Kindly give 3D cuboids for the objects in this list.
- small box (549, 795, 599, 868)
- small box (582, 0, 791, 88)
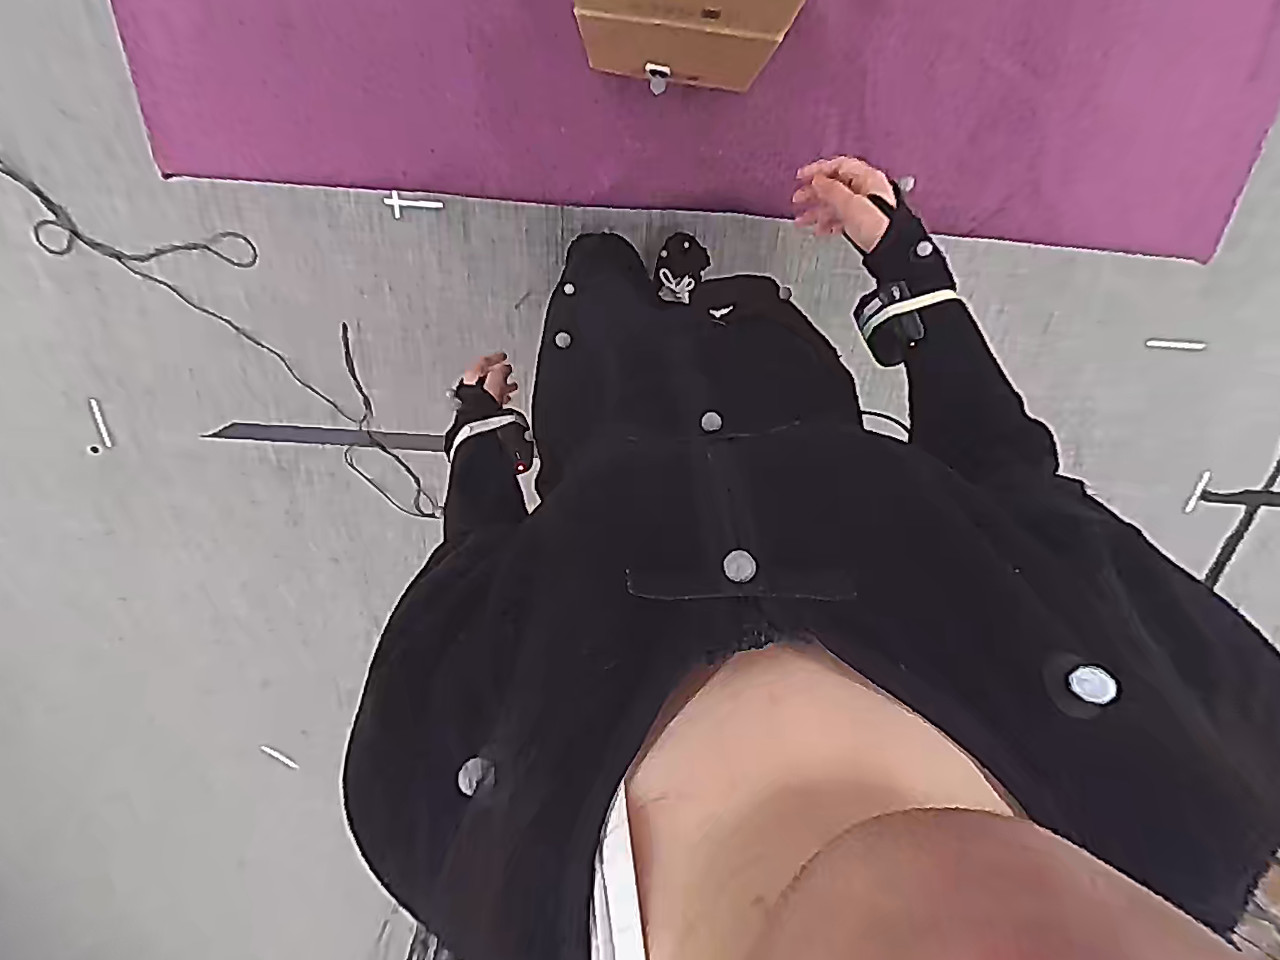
[{"bbox_3d":[-0.242,1.316,2.026,0.168,0.176,0.179,-3,115,-1],"label":"small box"},{"bbox_3d":[0.042,-0.467,0.459,0.168,0.176,0.179,6,114,-2],"label":"small box"}]
